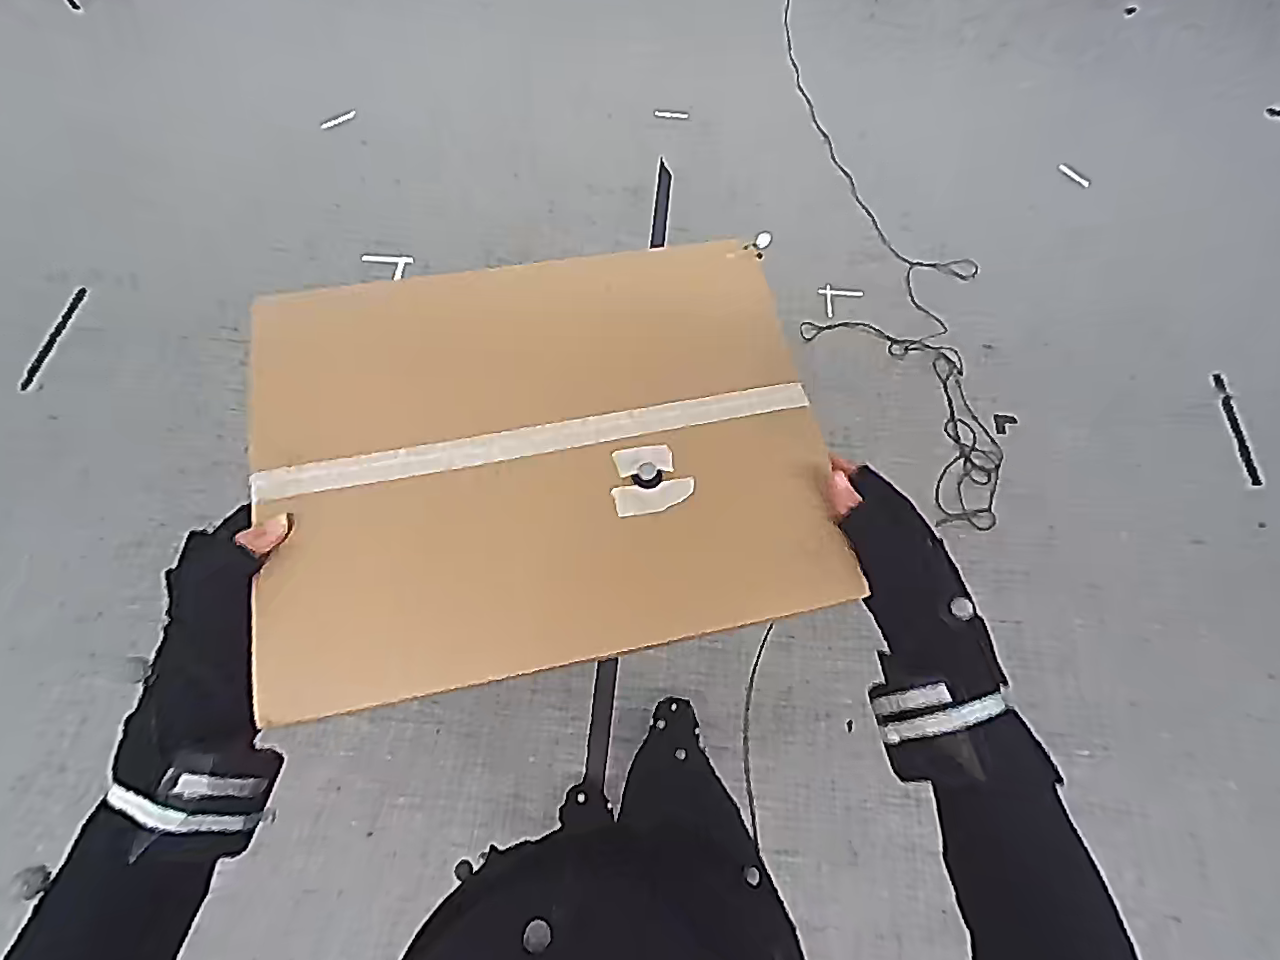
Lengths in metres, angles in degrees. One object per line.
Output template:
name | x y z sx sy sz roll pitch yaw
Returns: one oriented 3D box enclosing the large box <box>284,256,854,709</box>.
large box | -0.075 0.021 0.557 0.408 0.320 0.320 -10 72 -7
